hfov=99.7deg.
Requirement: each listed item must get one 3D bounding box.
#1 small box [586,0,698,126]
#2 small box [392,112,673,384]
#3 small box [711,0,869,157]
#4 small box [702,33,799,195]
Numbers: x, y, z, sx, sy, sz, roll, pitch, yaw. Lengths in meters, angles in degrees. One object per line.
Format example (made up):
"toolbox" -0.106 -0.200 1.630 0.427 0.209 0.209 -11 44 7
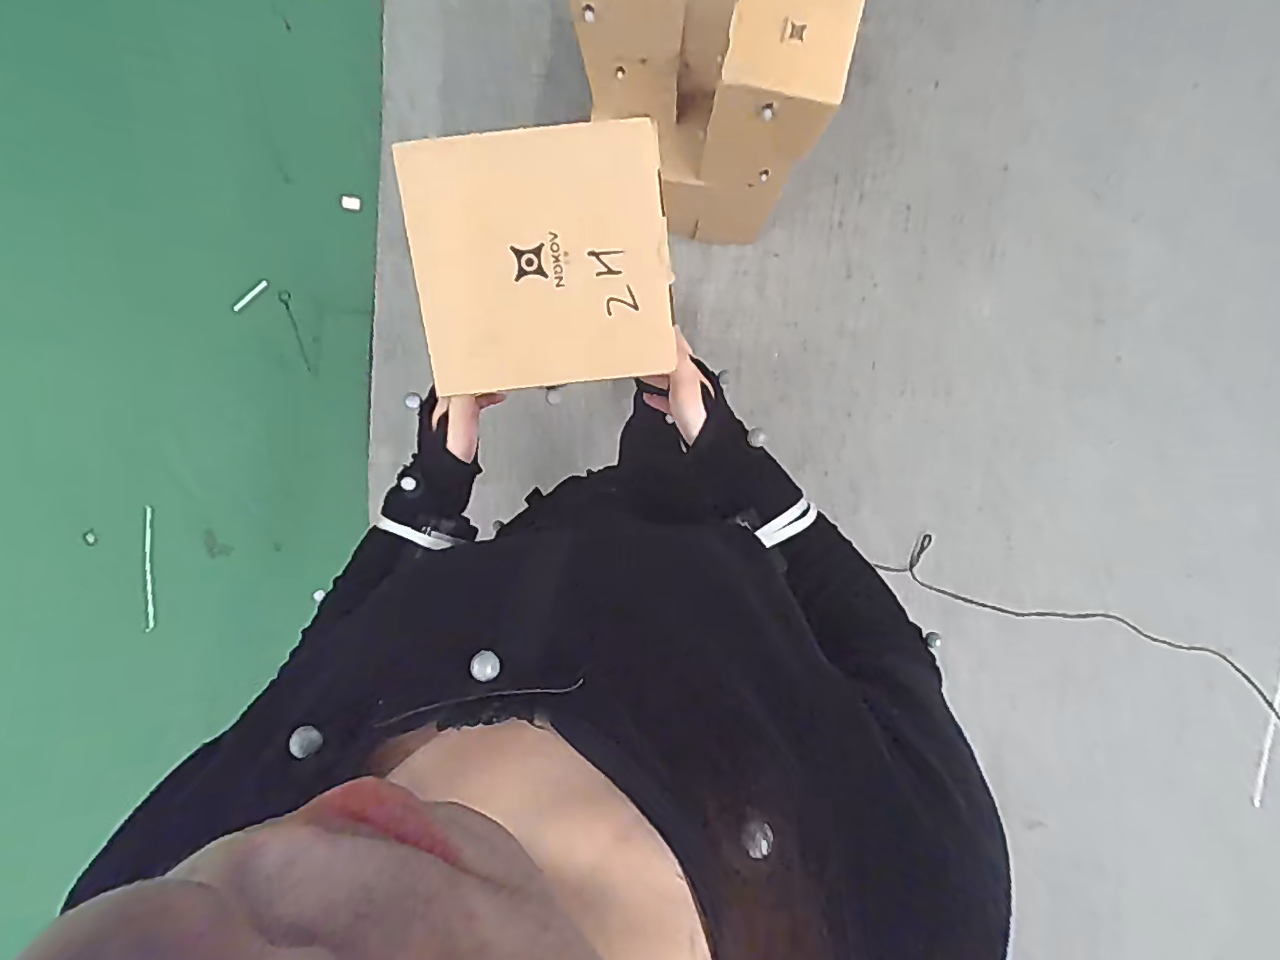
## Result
"small box" 0.007 -0.792 0.981 0.168 0.176 0.179 12 95 2
"small box" -0.071 -0.169 0.445 0.179 0.176 0.168 -6 103 -1
"small box" 0.217 -0.626 0.826 0.179 0.176 0.168 13 96 0
"small box" 0.213 -0.653 0.987 0.168 0.176 0.179 12 95 0
